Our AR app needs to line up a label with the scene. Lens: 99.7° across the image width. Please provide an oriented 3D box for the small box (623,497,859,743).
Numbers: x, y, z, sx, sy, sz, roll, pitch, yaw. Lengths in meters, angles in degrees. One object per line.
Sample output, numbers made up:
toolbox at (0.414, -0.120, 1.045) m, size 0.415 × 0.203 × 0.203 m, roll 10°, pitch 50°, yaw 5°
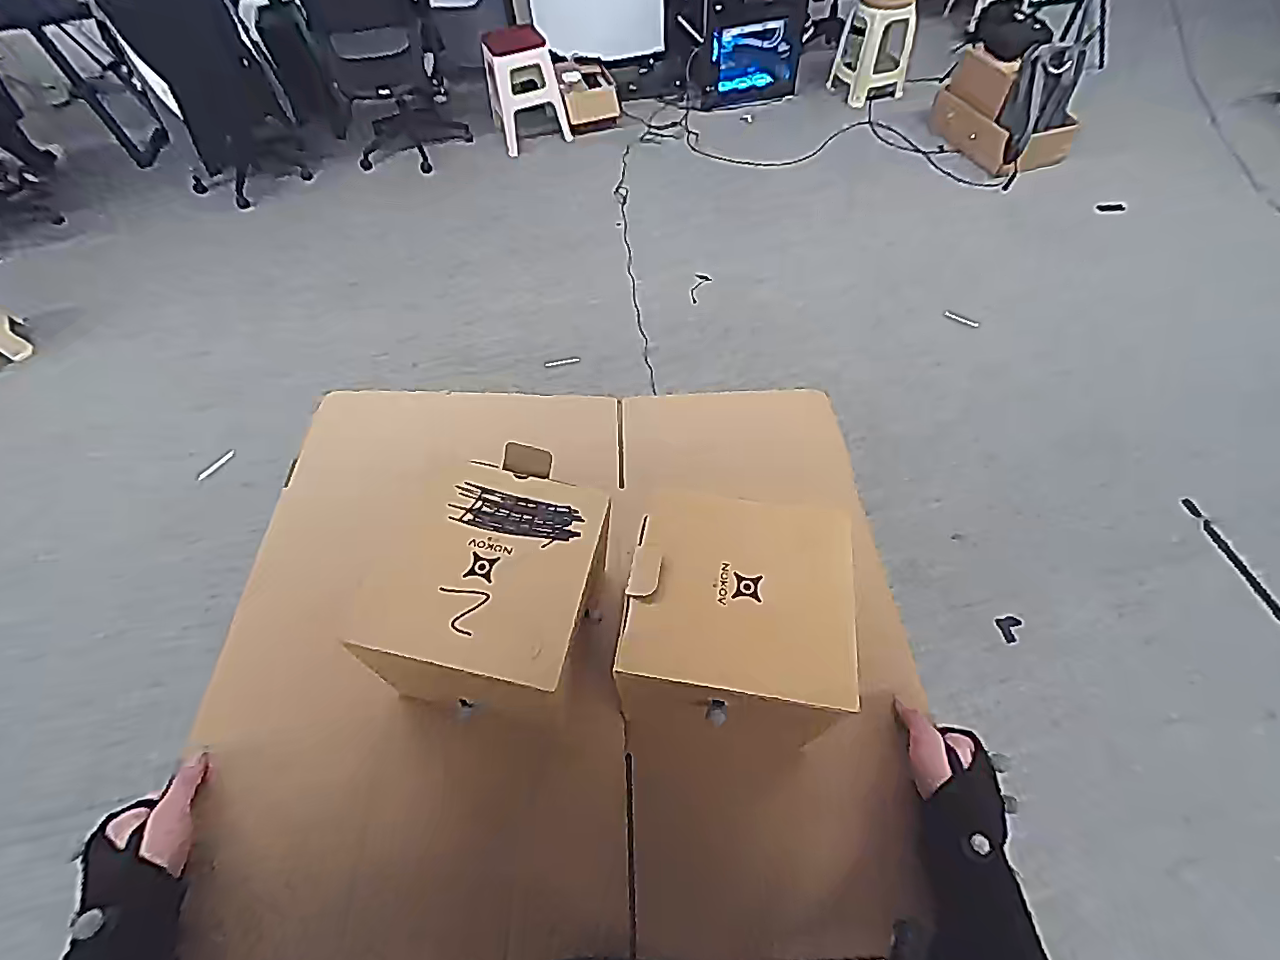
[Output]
small box at (0.089, 0.137, 0.507) m, size 0.179 × 0.176 × 0.168 m, roll 6°, pitch 56°, yaw 8°
